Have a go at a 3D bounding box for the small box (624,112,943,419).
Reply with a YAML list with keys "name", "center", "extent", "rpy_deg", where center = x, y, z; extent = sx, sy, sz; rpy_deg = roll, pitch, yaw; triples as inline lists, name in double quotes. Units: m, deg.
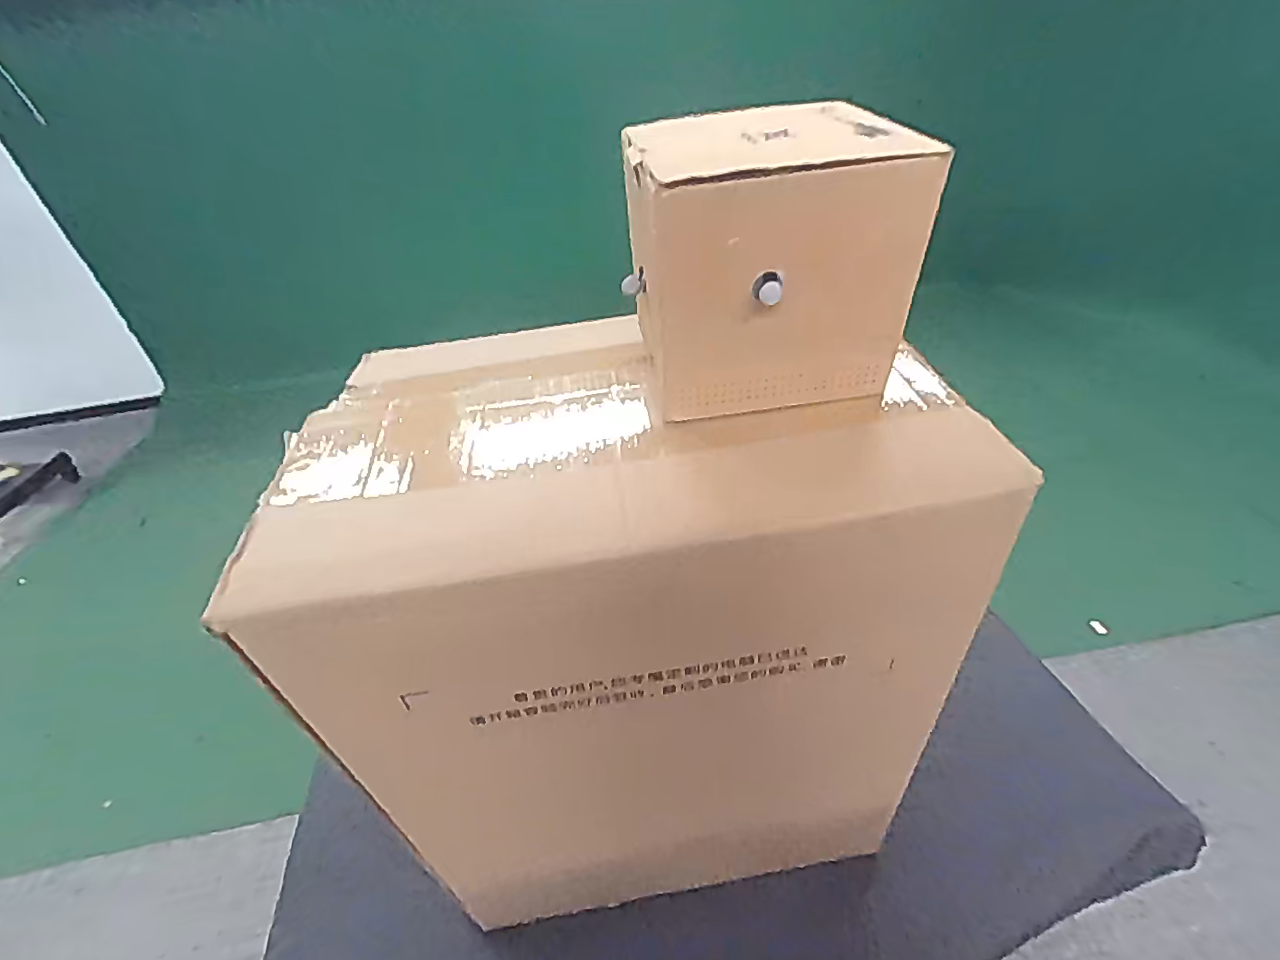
- name: "small box"
  center: [0.090, -0.163, 0.420]
  extent: [0.179, 0.176, 0.168]
  rpy_deg: [-9, 43, -2]
